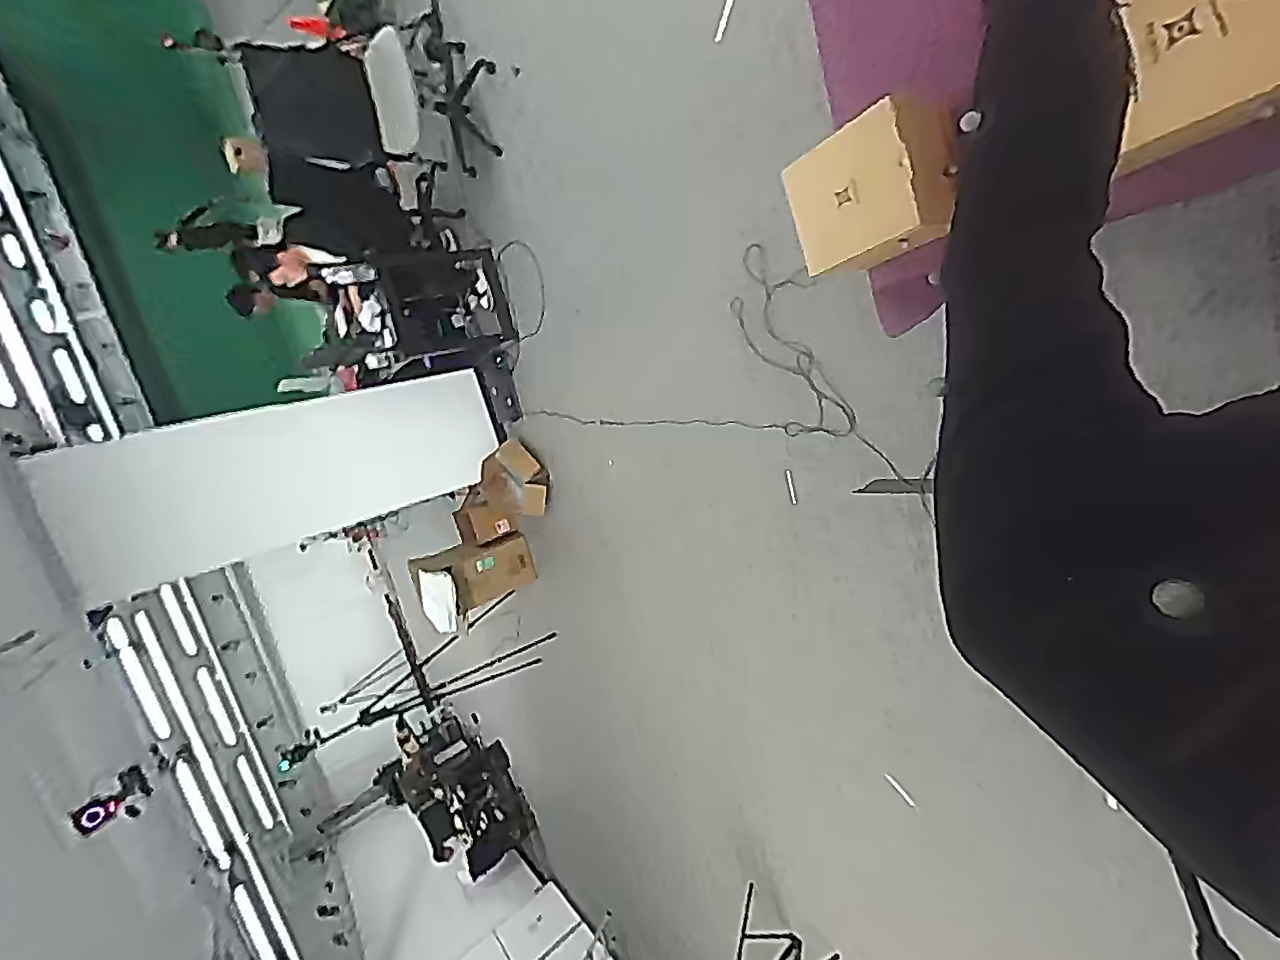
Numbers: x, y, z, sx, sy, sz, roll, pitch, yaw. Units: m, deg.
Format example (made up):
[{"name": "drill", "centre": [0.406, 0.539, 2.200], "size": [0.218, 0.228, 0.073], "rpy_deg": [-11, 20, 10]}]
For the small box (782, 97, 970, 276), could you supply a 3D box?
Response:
[{"name": "small box", "centre": [0.346, -0.417, 0.796], "size": [0.179, 0.176, 0.168], "rpy_deg": [-10, 100, 54]}]
